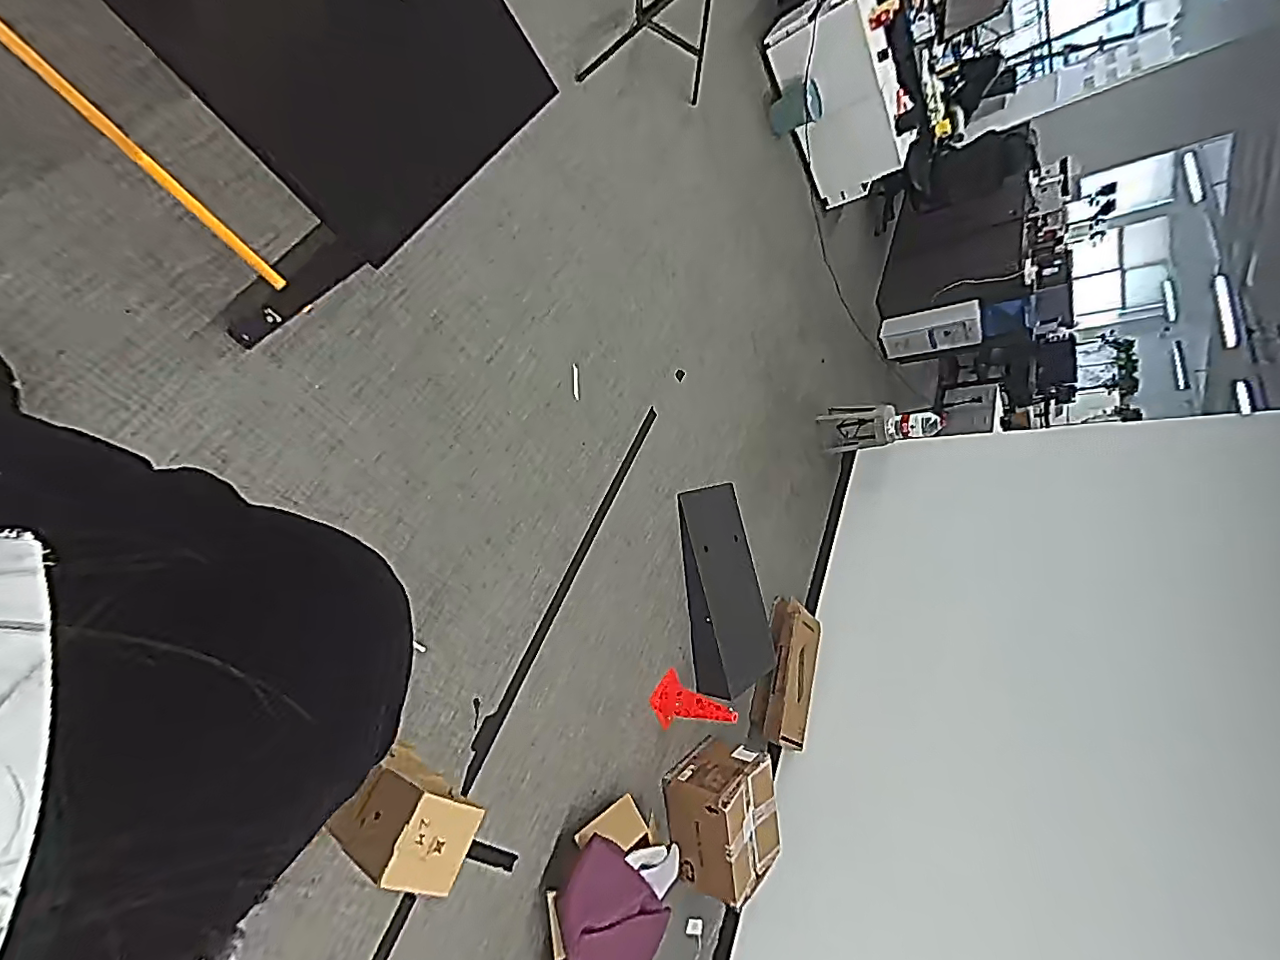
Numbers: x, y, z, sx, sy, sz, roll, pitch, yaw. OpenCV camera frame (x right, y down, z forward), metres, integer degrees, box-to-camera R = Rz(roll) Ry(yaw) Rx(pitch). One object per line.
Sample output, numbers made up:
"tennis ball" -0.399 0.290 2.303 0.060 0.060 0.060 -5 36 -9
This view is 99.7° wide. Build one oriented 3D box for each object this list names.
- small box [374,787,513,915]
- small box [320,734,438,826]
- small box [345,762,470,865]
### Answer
"small box" -0.408 0.768 1.130 0.179 0.176 0.168 47 54 -38
"small box" -0.652 0.755 1.354 0.179 0.176 0.168 42 57 -39
"small box" -0.534 0.765 1.239 0.179 0.176 0.168 42 58 -40
